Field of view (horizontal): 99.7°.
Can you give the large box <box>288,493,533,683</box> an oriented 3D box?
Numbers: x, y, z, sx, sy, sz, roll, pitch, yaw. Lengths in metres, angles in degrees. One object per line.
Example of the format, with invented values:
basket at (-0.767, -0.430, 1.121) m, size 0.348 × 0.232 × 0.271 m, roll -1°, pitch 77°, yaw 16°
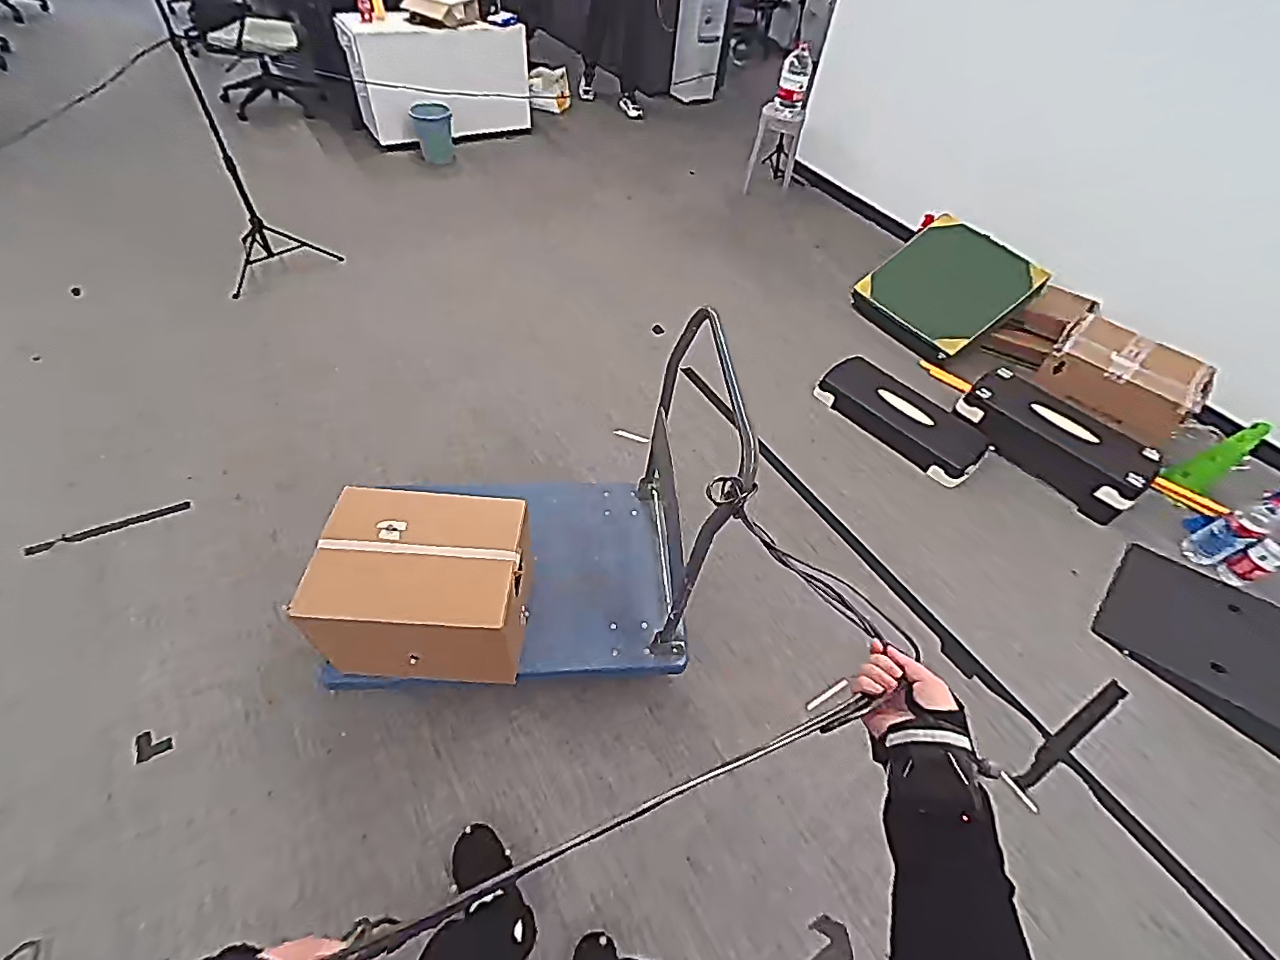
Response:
large box at (-0.468, 0.252, 1.223) m, size 0.408 × 0.320 × 0.320 m, roll 4°, pitch 49°, yaw -3°
